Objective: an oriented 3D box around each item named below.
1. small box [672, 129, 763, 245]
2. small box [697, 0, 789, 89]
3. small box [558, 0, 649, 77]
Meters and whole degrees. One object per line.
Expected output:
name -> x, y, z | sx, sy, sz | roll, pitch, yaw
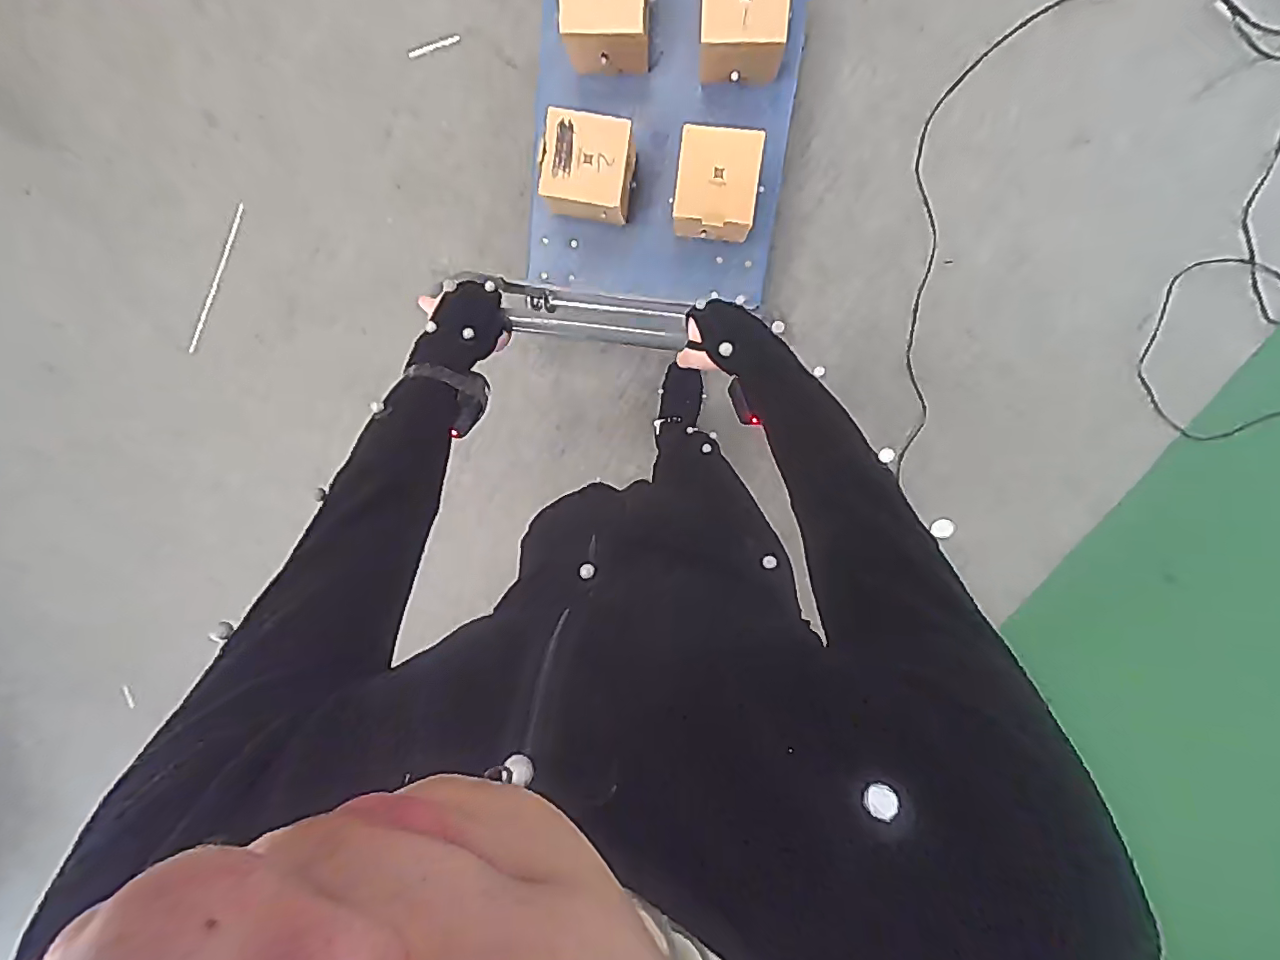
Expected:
small box -> 0.160, -0.627, 1.175 | 0.168, 0.176, 0.179 | 7, 105, 2
small box -> 0.205, -0.932, 1.095 | 0.168, 0.176, 0.179 | 4, 105, 4
small box -> -0.070, -0.960, 1.106 | 0.168, 0.176, 0.179 | 3, 104, 2
